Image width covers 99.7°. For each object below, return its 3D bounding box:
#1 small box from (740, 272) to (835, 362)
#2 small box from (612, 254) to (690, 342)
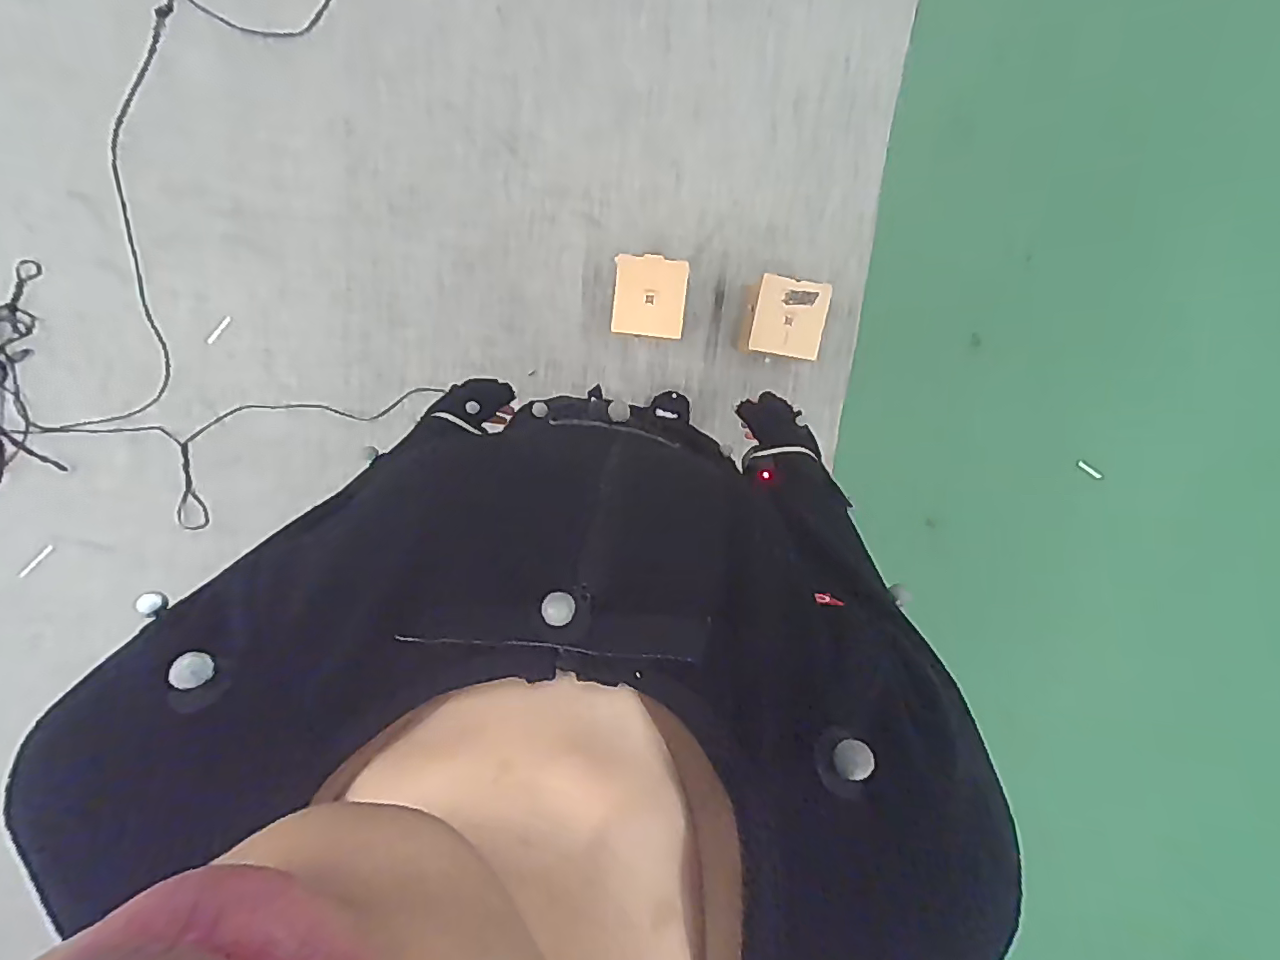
[{"bbox_3d":[0.350,-0.390,1.320,0.168,0.176,0.179,10,102,-1],"label":"small box"},{"bbox_3d":[0.026,-0.434,1.316,0.168,0.176,0.179,6,100,-1],"label":"small box"}]
